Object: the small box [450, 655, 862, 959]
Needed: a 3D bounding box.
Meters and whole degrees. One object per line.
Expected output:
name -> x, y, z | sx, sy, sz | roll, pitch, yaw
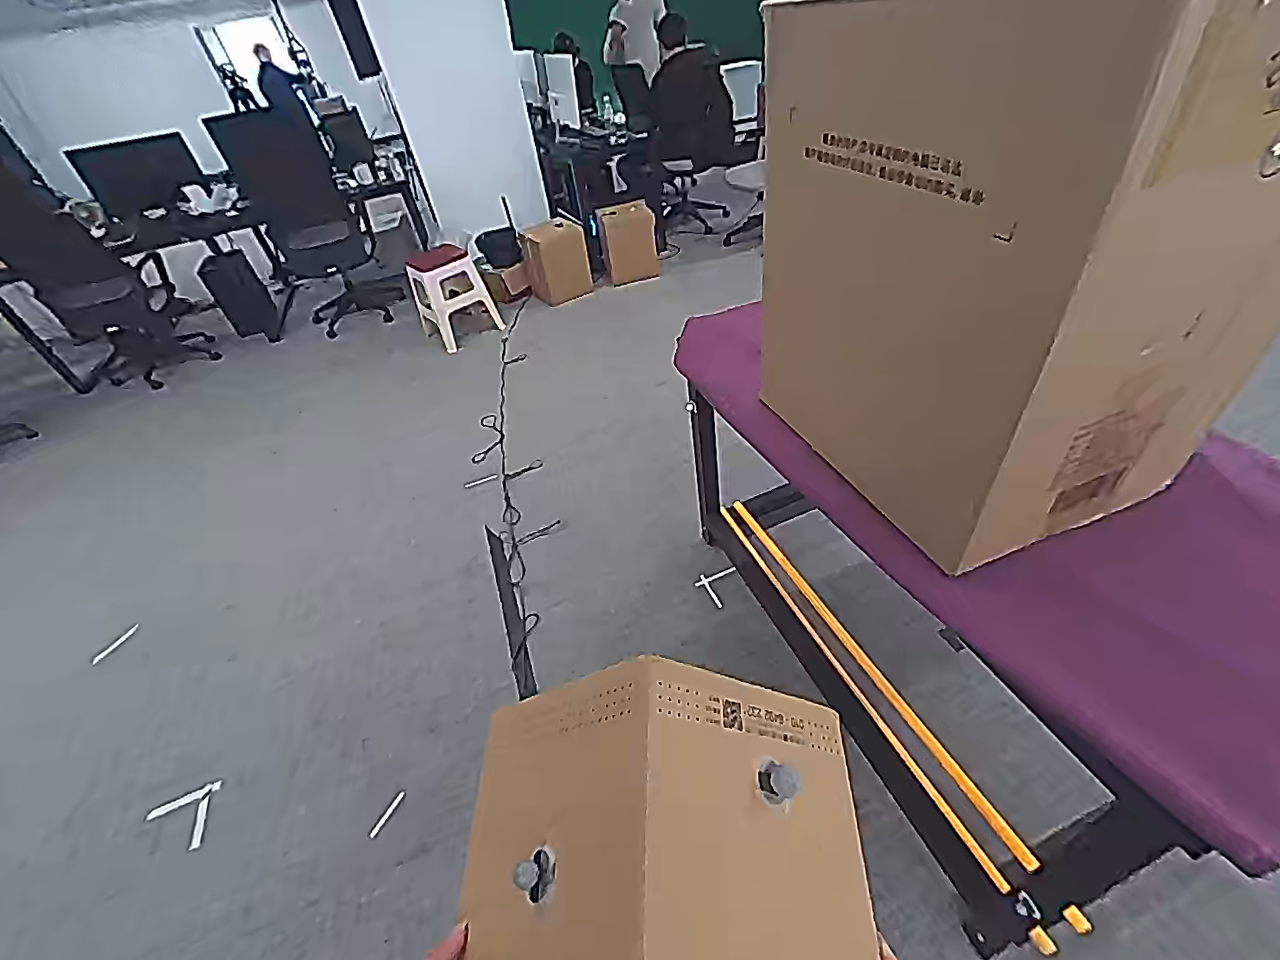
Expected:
small box -> 0.011, 0.223, 0.323 | 0.179, 0.168, 0.176 | -36, 40, 38
